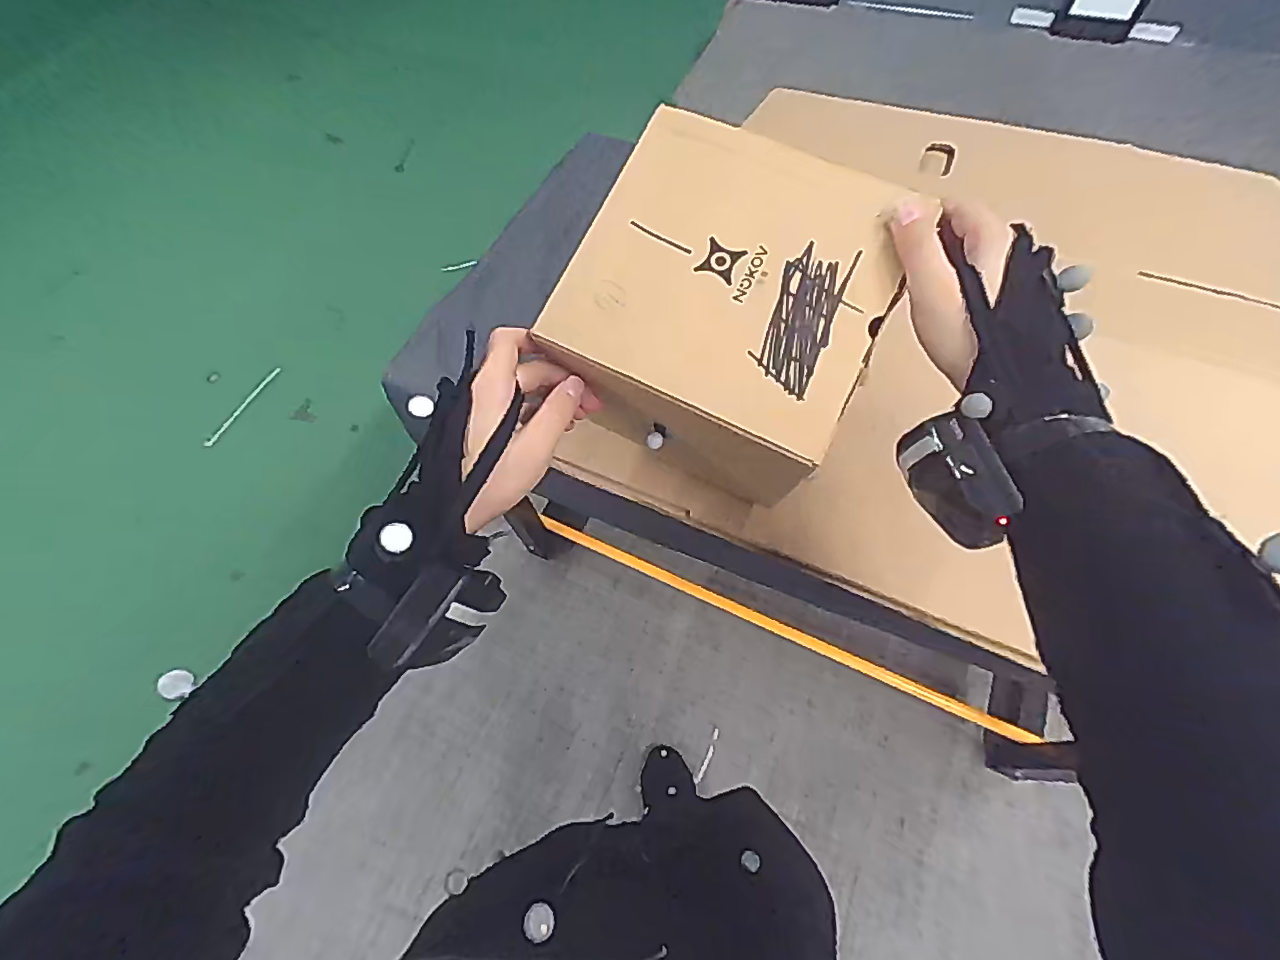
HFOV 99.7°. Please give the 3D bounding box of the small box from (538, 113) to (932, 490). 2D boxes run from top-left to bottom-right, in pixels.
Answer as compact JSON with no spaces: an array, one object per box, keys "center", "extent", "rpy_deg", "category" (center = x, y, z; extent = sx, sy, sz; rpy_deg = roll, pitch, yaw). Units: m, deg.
[{"center":[0.061,-0.104,0.387],"extent":[0.179,0.176,0.168],"rpy_deg":[26,83,11],"category":"small box"}]
